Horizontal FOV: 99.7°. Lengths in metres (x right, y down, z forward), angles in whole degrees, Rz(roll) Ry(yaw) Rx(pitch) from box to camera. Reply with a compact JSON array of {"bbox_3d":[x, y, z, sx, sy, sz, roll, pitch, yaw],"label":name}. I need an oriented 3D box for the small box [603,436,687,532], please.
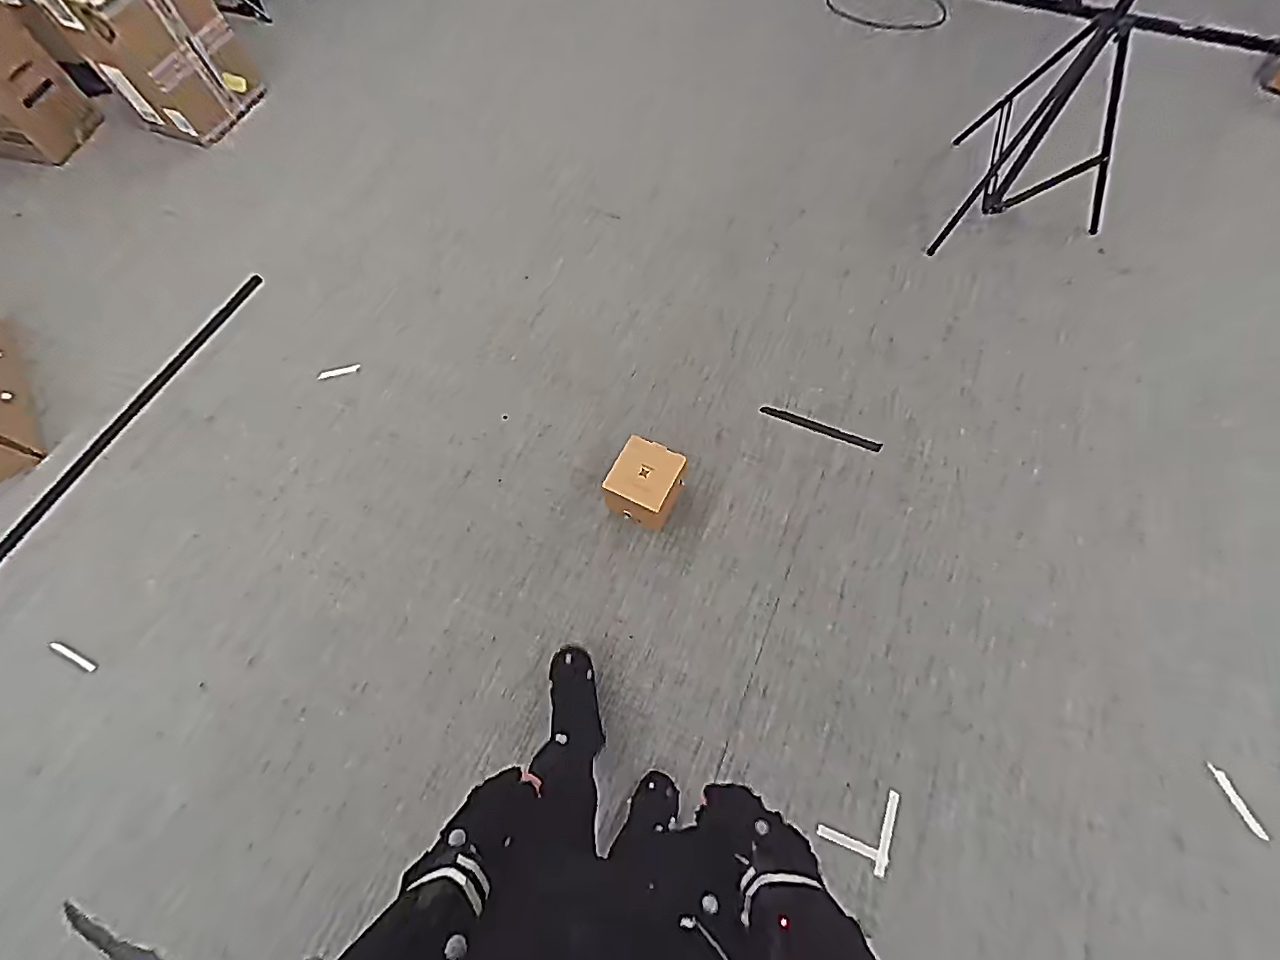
[{"bbox_3d":[0.016,0.015,1.473,0.168,0.176,0.179,24,71,13],"label":"small box"}]
